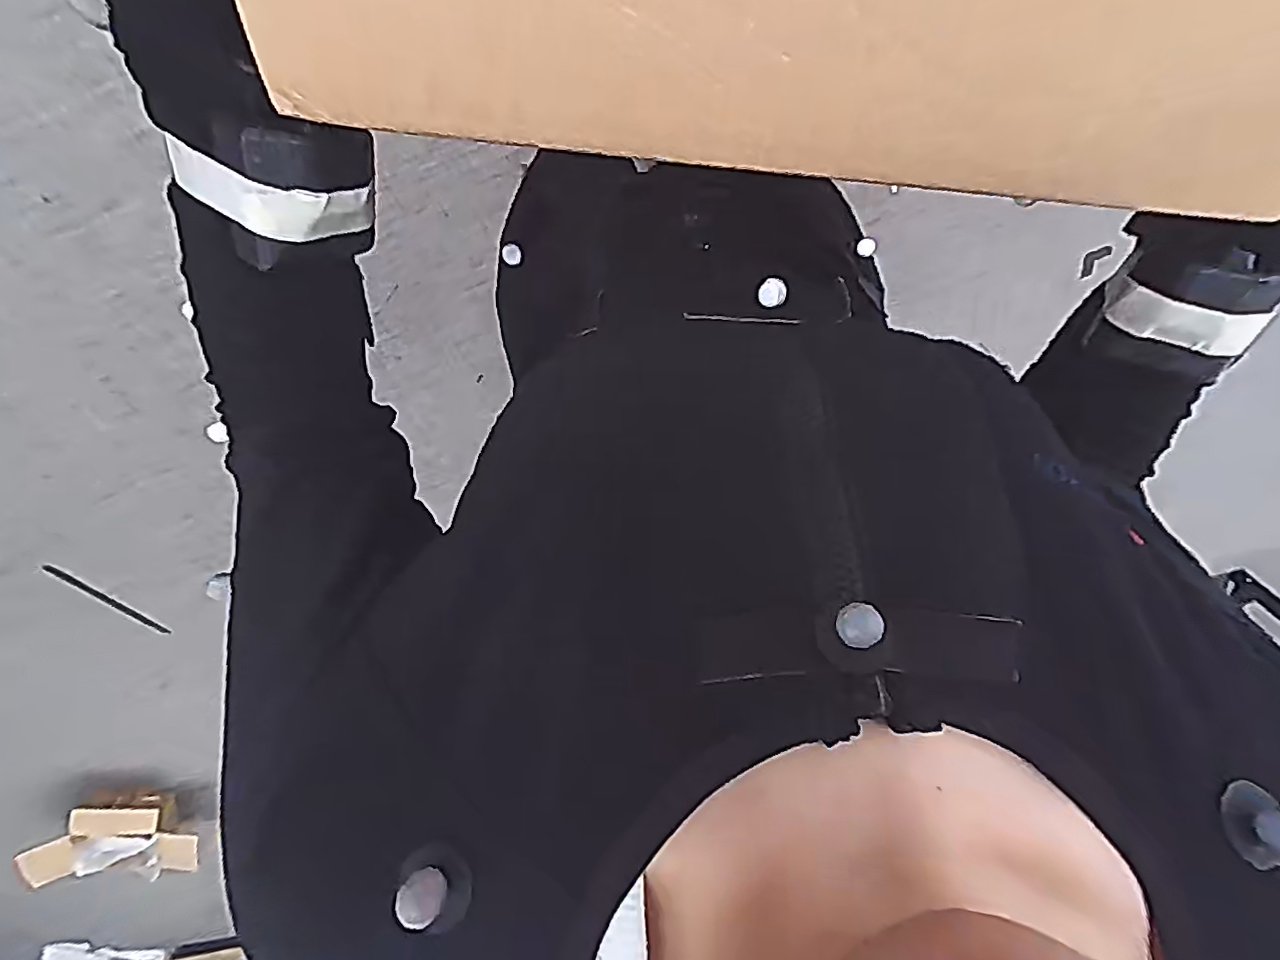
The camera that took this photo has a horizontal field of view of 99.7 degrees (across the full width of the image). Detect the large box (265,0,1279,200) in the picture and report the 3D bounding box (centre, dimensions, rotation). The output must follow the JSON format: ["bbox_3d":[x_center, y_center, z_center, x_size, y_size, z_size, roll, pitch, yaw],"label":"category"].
[{"bbox_3d":[0.077,-0.345,0.222,0.408,0.320,0.320,3,134,-4],"label":"large box"}]
